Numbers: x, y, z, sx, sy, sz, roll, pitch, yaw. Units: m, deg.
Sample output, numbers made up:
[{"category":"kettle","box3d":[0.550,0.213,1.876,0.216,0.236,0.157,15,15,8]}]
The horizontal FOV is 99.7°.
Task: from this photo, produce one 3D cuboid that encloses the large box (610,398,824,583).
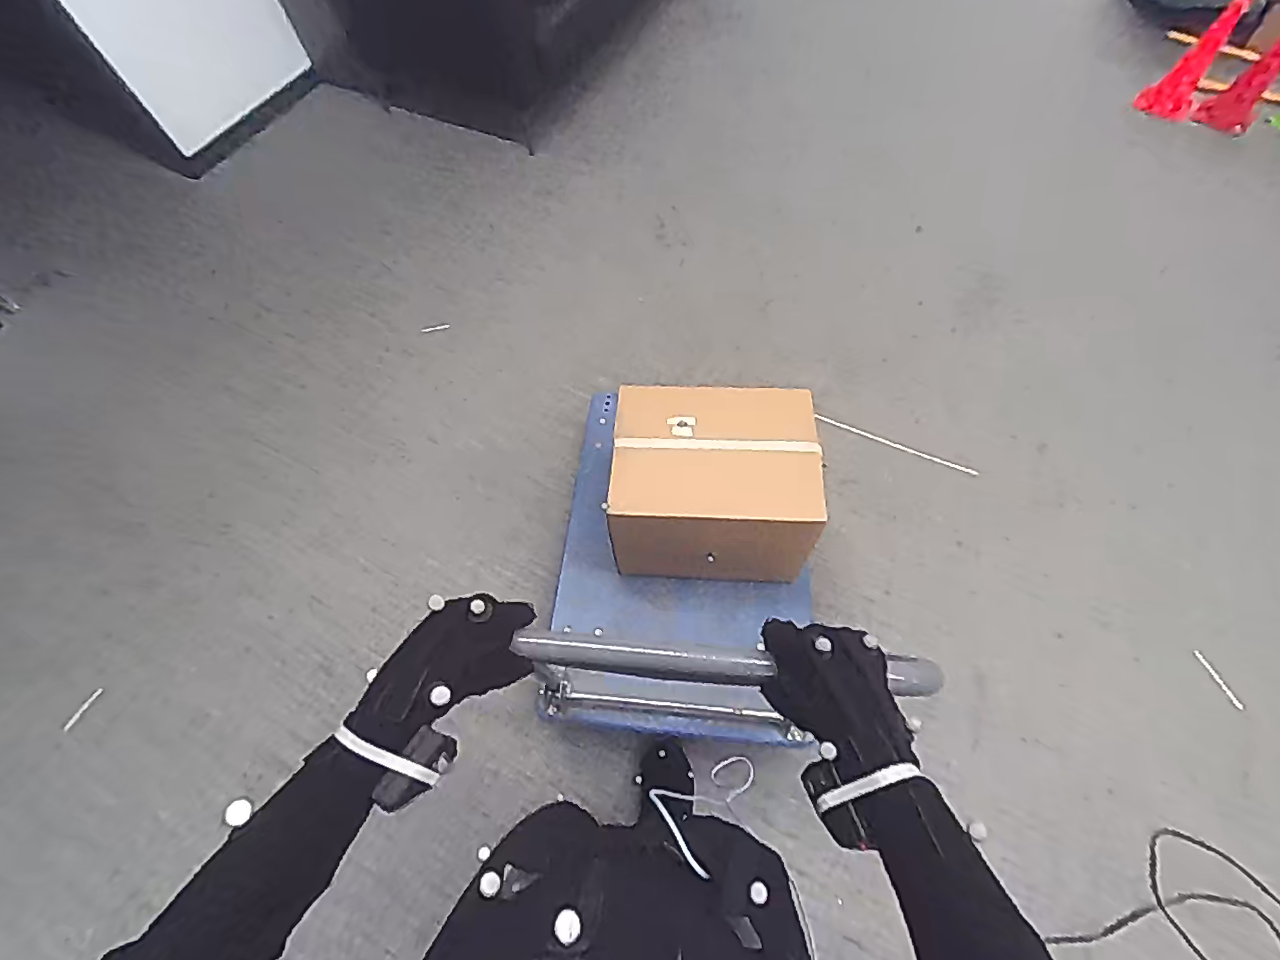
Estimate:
[{"category":"large box","box3d":[0.157,0.035,1.208,0.408,0.320,0.320,0,58,5]}]
